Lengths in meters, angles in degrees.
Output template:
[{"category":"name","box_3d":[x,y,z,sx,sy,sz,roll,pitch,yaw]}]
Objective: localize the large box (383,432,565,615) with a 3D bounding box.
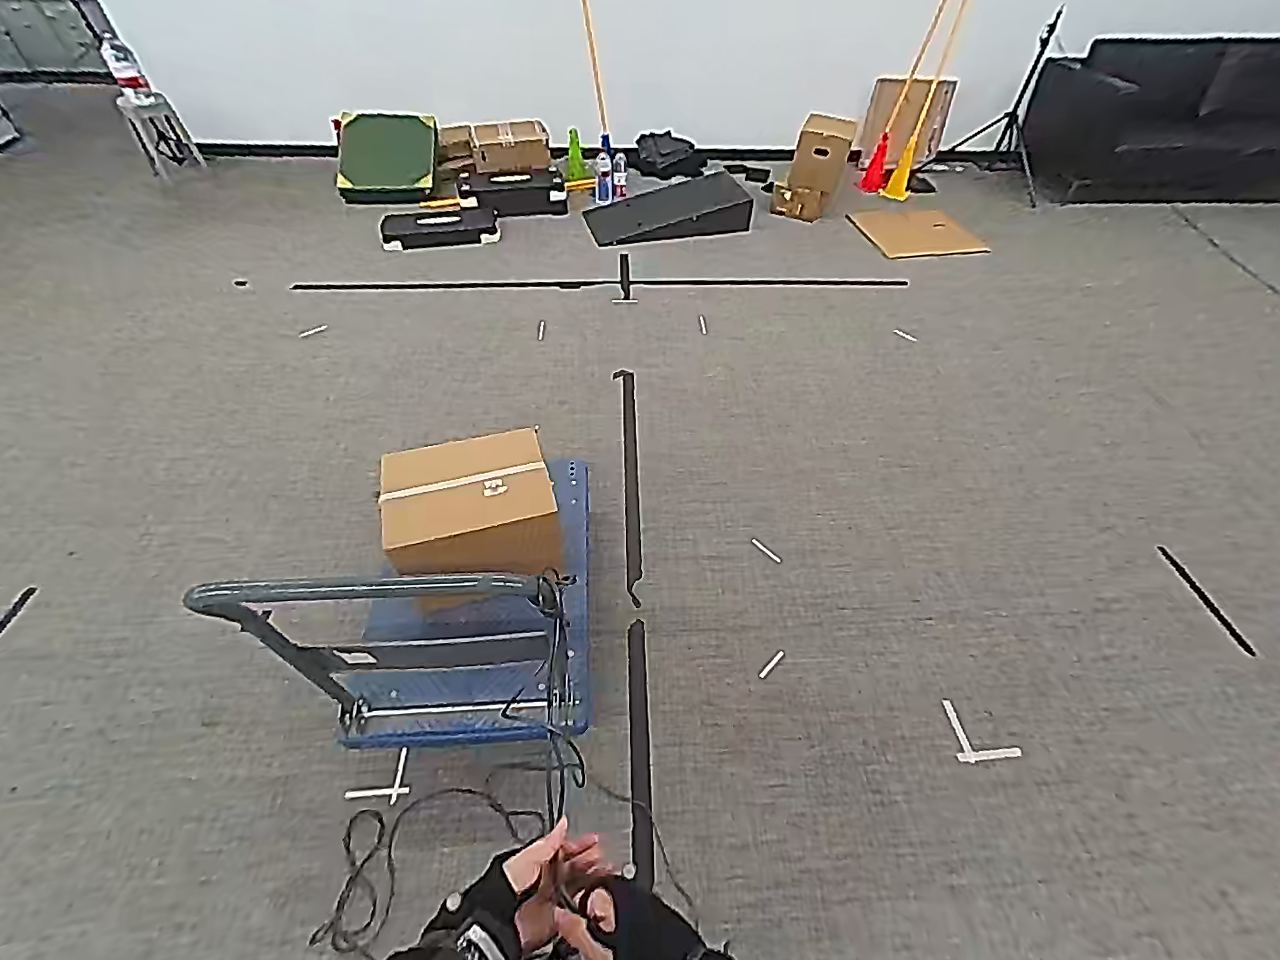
[{"category":"large box","box_3d":[-0.438,0.115,1.461,0.408,0.320,0.320,-12,50,-14]}]
